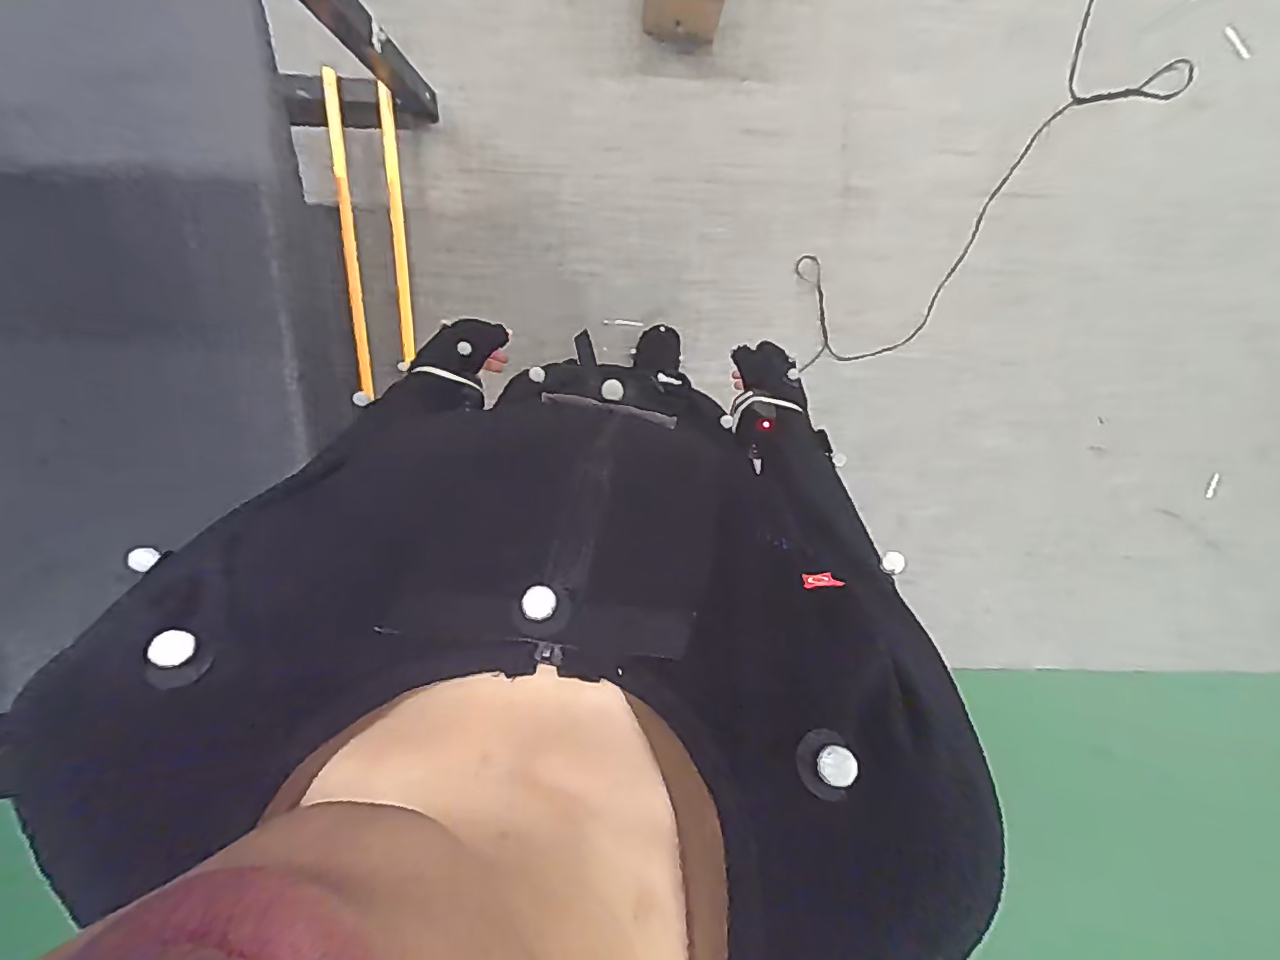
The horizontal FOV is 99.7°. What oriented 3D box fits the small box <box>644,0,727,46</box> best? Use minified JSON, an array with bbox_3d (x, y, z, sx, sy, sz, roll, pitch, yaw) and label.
[{"bbox_3d":[0.100,-1.057,1.126,0.168,0.176,0.179,7,106,-2],"label":"small box"}]
